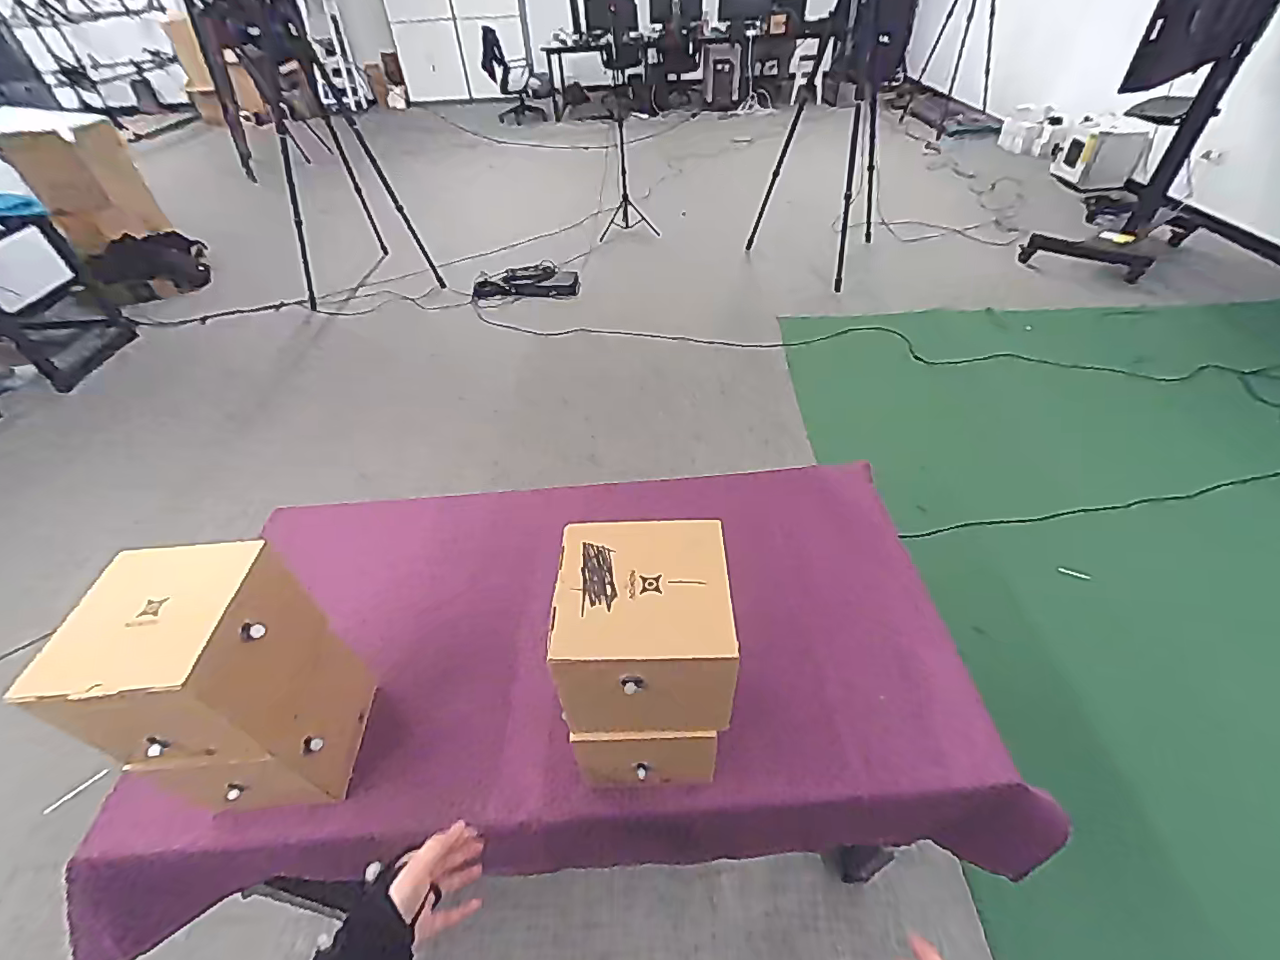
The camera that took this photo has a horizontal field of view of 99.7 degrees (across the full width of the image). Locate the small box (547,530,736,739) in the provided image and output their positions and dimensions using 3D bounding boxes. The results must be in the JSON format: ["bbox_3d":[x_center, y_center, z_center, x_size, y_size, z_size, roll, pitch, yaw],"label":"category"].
[{"bbox_3d":[0.006,0.172,0.599,0.179,0.176,0.168,-1,44,1],"label":"small box"}]

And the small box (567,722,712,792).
[{"bbox_3d":[0.004,0.294,0.710,0.168,0.176,0.179,-1,43,1],"label":"small box"}]

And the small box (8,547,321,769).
[{"bbox_3d":[-0.491,0.197,0.602,0.168,0.176,0.179,-4,44,-1],"label":"small box"}]
